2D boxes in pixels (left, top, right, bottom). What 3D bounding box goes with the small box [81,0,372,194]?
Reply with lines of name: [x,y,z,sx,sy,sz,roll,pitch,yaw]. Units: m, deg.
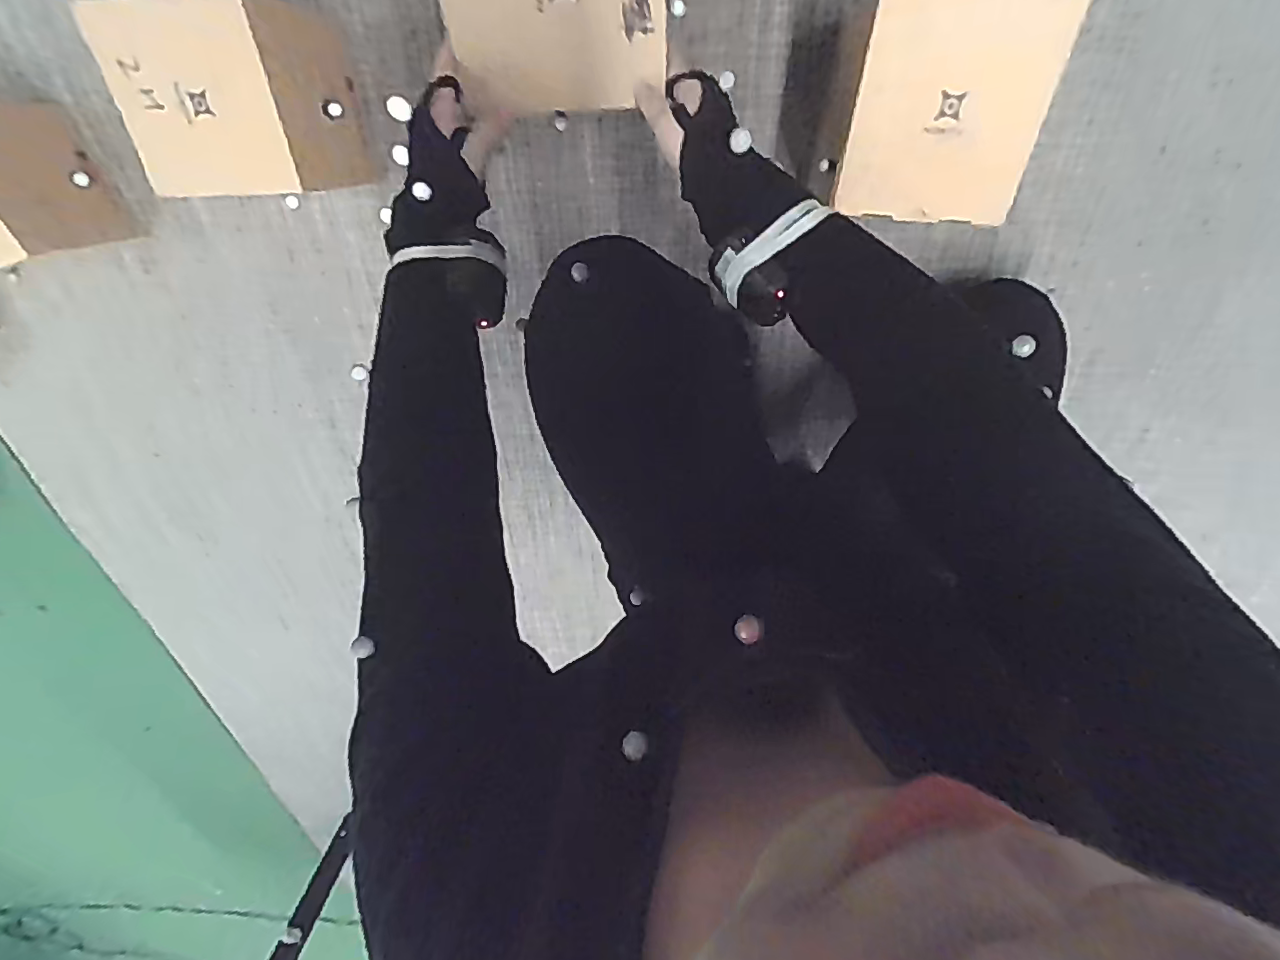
small box: [-0.432,-0.422,0.608,0.179,0.176,0.168,2,121,6]

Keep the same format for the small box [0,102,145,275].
small box: [-0.816,-0.367,0.695,0.179,0.176,0.168,-9,121,12]

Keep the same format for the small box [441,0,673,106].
small box: [-0.062,-0.427,0.467,0.179,0.176,0.168,0,125,5]
